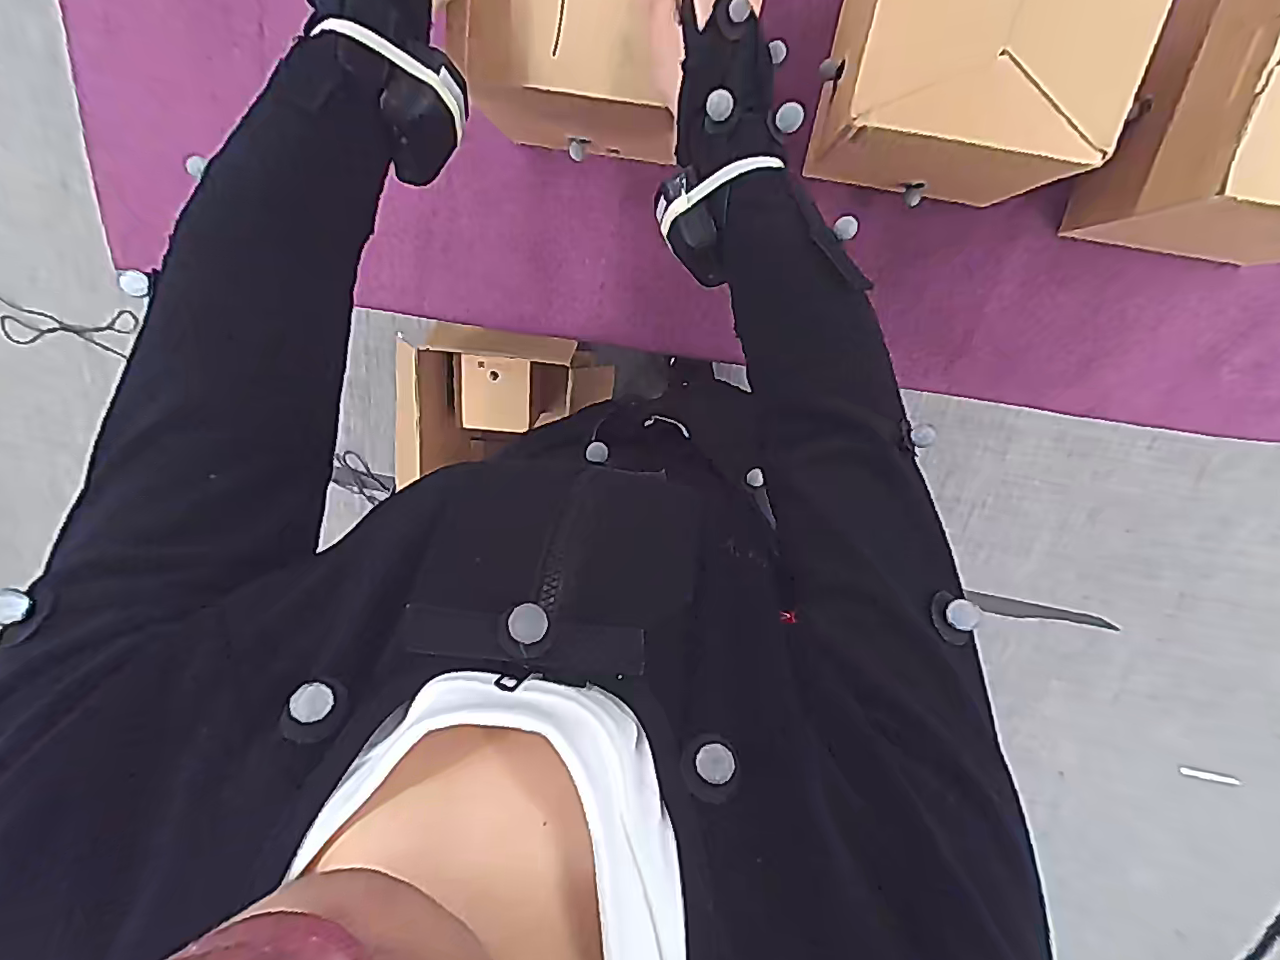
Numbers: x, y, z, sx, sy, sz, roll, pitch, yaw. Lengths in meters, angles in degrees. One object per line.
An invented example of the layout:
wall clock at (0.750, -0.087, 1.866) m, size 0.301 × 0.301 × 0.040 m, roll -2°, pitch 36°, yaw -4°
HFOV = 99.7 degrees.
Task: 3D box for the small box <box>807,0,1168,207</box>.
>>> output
small box at (0.250, -0.330, 0.417) m, size 0.179 × 0.176 × 0.168 m, roll 12°, pitch 107°, yaw 3°

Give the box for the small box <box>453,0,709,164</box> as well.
small box at (-0.033, -0.382, 0.436) m, size 0.168 × 0.176 × 0.179 m, roll 10°, pitch 109°, yaw 3°

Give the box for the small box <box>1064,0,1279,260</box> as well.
small box at (0.489, -0.272, 0.411) m, size 0.179 × 0.176 × 0.168 m, roll 11°, pitch 106°, yaw 2°
